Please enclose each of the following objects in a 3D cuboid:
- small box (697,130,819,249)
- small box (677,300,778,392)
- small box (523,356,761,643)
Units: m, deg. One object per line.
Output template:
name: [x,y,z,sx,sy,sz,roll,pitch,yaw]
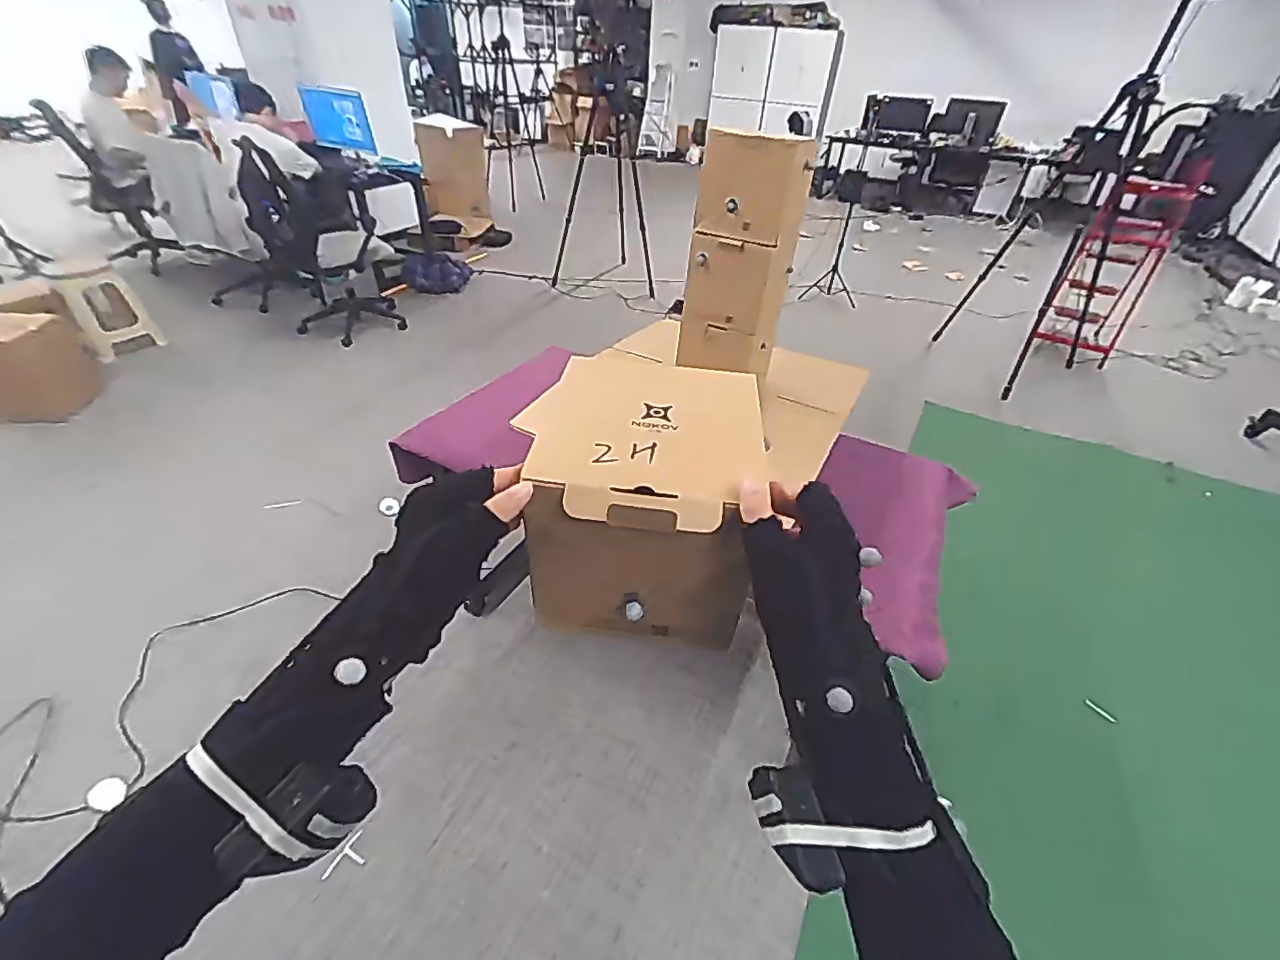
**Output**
small box: [0.220,-0.553,1.026,0.168,0.176,0.179,21,38,19]
small box: [0.191,-0.286,1.214,0.168,0.176,0.179,22,39,21]
small box: [0.005,0.014,0.475,0.168,0.176,0.179,6,41,3]
